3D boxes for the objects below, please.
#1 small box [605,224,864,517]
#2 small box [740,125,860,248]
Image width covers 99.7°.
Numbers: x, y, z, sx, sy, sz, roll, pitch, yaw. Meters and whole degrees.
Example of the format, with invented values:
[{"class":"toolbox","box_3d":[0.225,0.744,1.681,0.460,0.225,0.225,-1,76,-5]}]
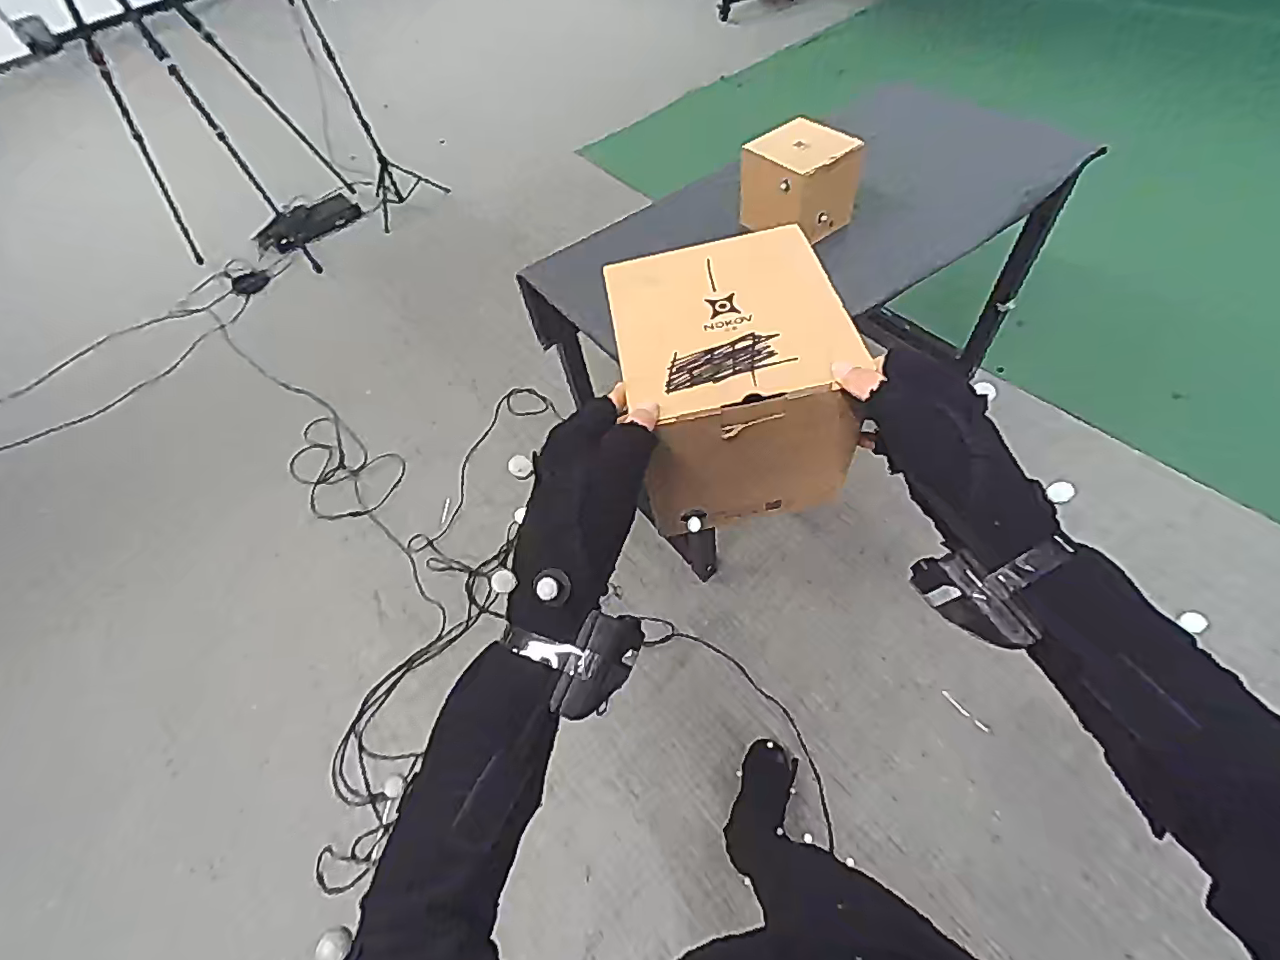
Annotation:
[{"class":"small box","box_3d":[0.073,-0.082,0.472,0.168,0.176,0.179,-11,56,3]},{"class":"small box","box_3d":[0.326,-0.612,1.146,0.168,0.176,0.179,-34,58,-15]}]
